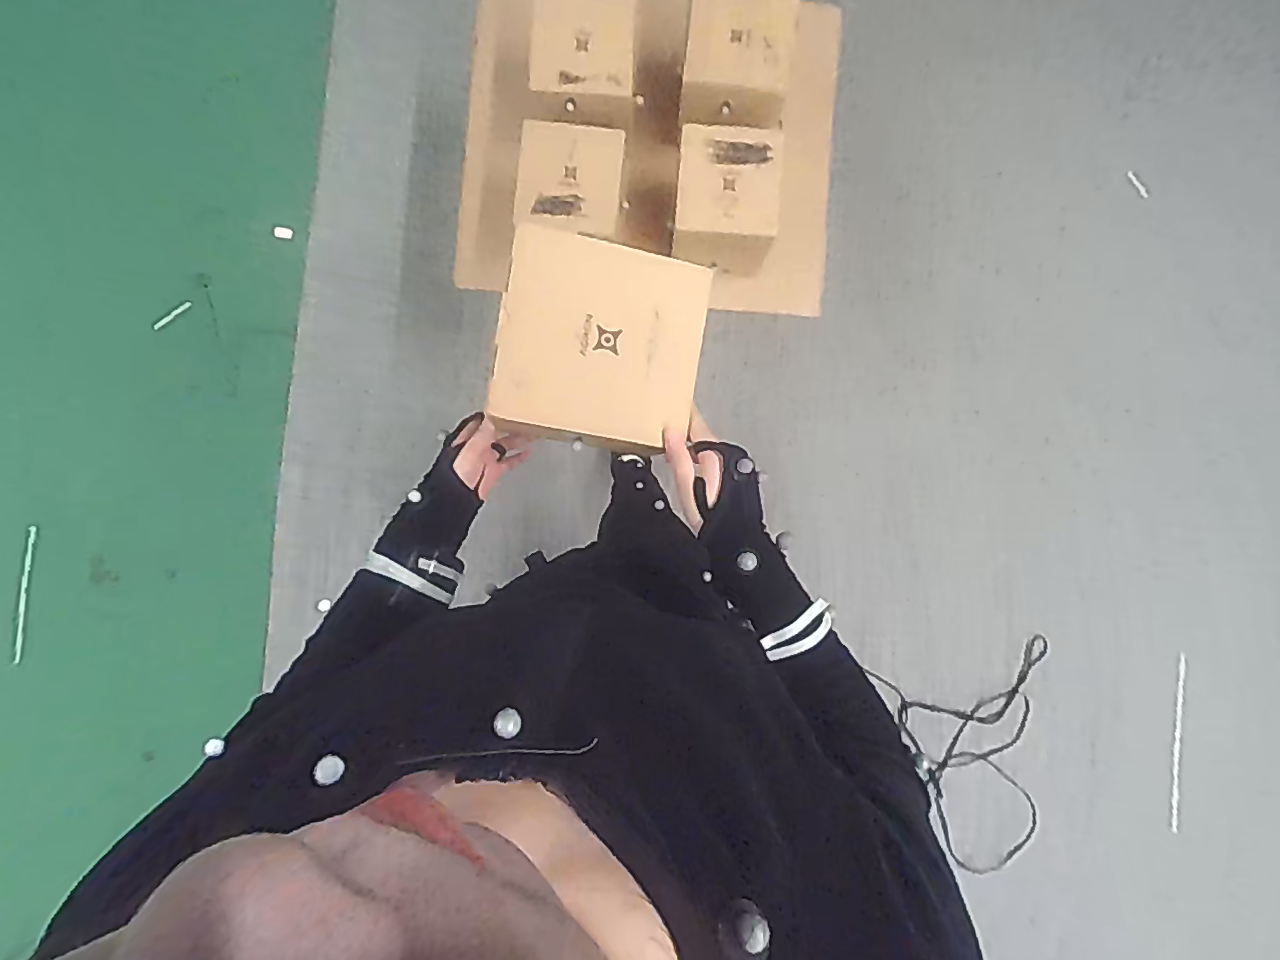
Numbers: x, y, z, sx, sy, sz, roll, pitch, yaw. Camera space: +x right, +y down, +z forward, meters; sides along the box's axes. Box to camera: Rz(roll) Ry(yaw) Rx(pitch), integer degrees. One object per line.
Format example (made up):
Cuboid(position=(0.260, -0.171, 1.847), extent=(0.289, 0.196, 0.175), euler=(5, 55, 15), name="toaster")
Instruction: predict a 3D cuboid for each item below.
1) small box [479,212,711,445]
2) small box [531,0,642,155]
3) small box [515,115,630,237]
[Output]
Cuboid(position=(-0.049, -0.130, 0.540), extent=(0.179, 0.176, 0.168), euler=(10, 90, -10), name="small box")
Cuboid(position=(-0.084, -0.703, 0.937), extent=(0.168, 0.176, 0.179), euler=(4, 88, 1), name="small box")
Cuboid(position=(-0.108, -0.482, 0.934), extent=(0.168, 0.176, 0.179), euler=(6, 88, 0), name="small box")
